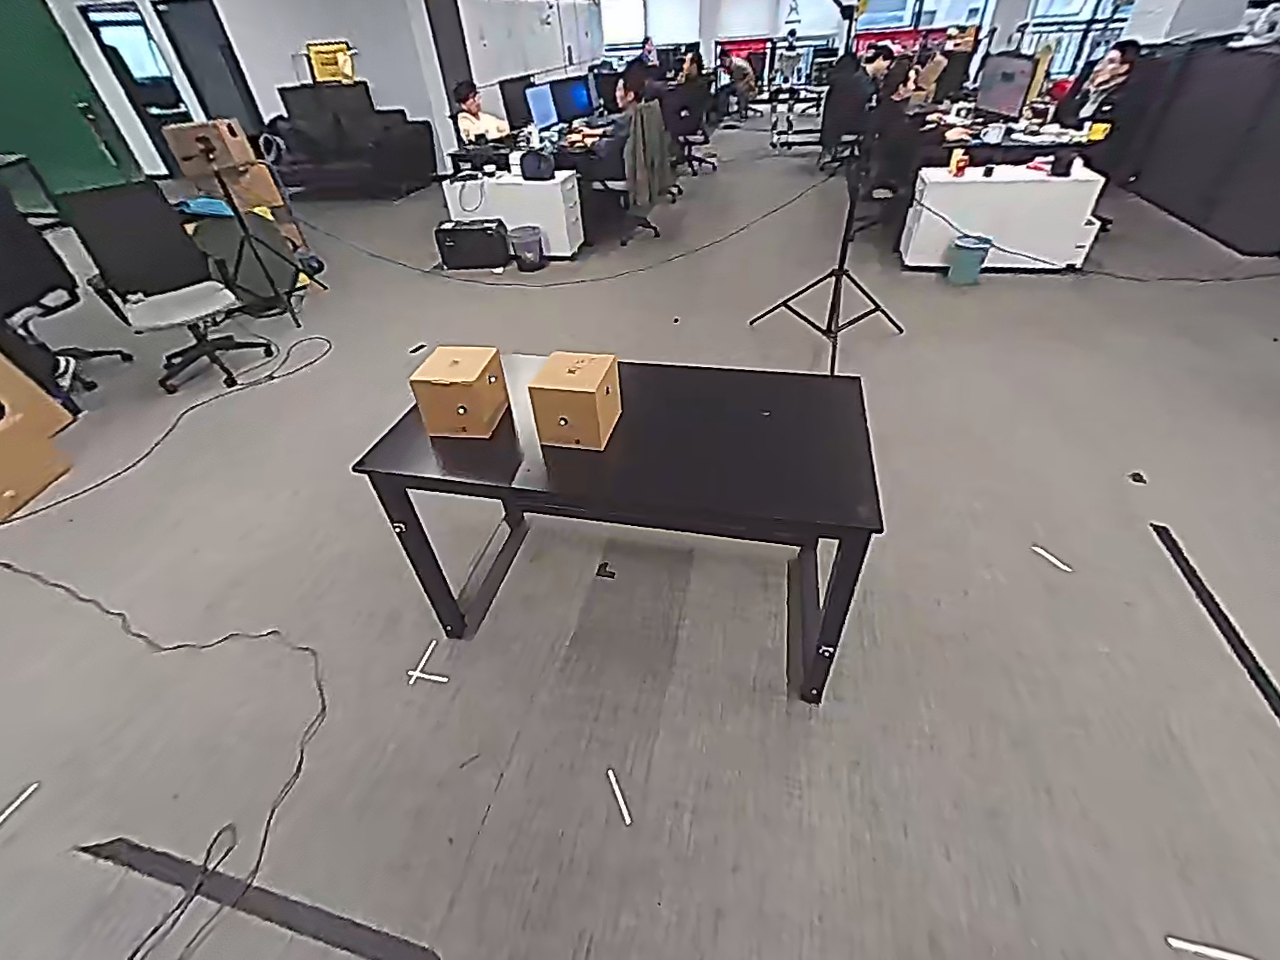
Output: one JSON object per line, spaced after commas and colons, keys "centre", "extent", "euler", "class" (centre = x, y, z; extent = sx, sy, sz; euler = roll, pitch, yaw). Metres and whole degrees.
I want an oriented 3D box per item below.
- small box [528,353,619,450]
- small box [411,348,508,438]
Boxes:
{"centre": [-0.152, -0.193, 1.328], "extent": [0.168, 0.176, 0.179], "euler": [7, 41, 12], "class": "small box"}
{"centre": [-0.452, -0.222, 1.391], "extent": [0.168, 0.176, 0.179], "euler": [4, 40, 7], "class": "small box"}
